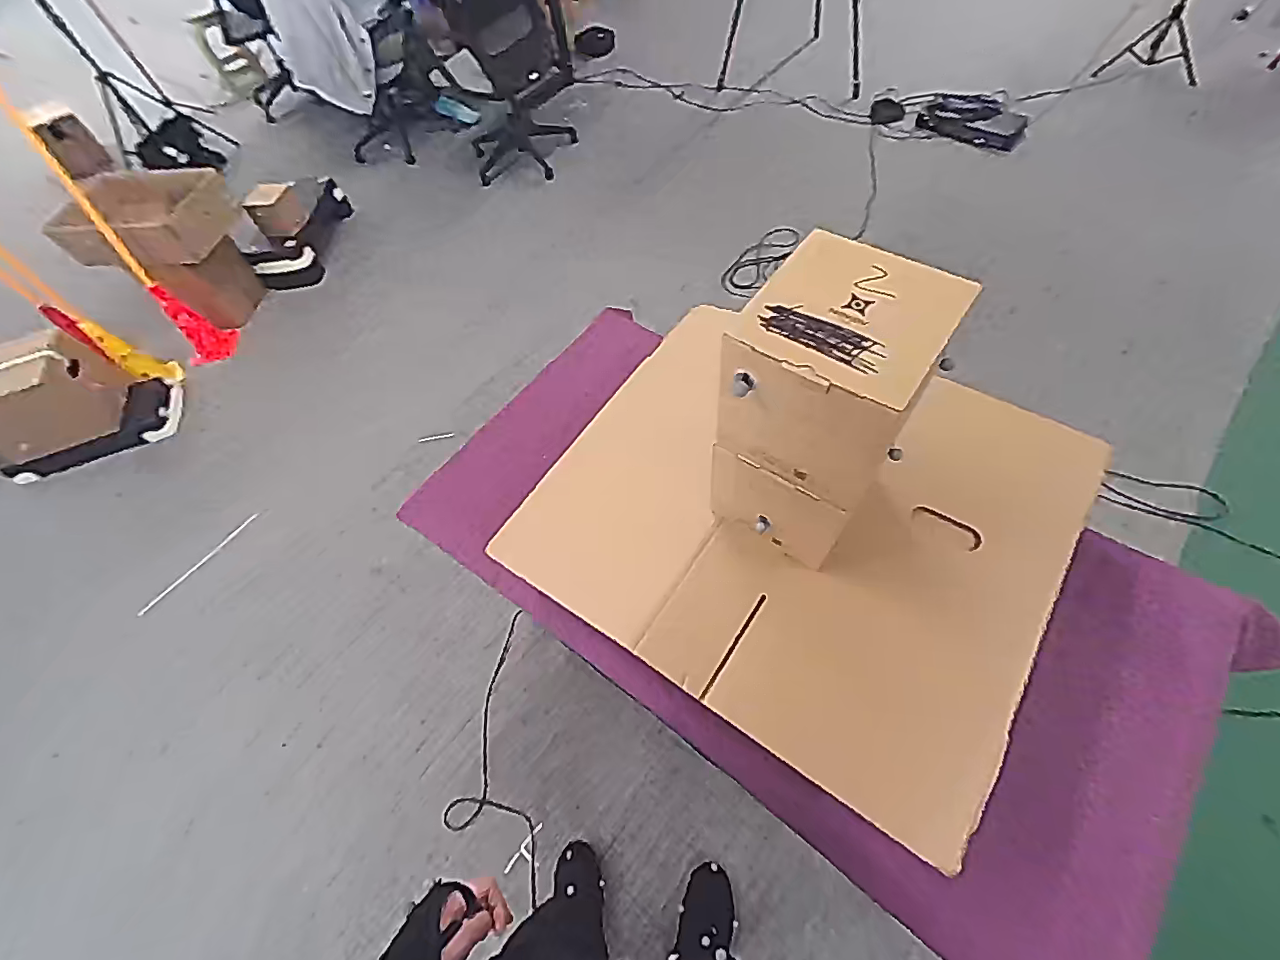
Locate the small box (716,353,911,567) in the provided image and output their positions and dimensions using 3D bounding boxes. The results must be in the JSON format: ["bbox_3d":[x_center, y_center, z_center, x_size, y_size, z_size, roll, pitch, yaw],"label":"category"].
[{"bbox_3d":[0.206,-0.021,0.689,0.168,0.176,0.179,30,68,21],"label":"small box"}]
